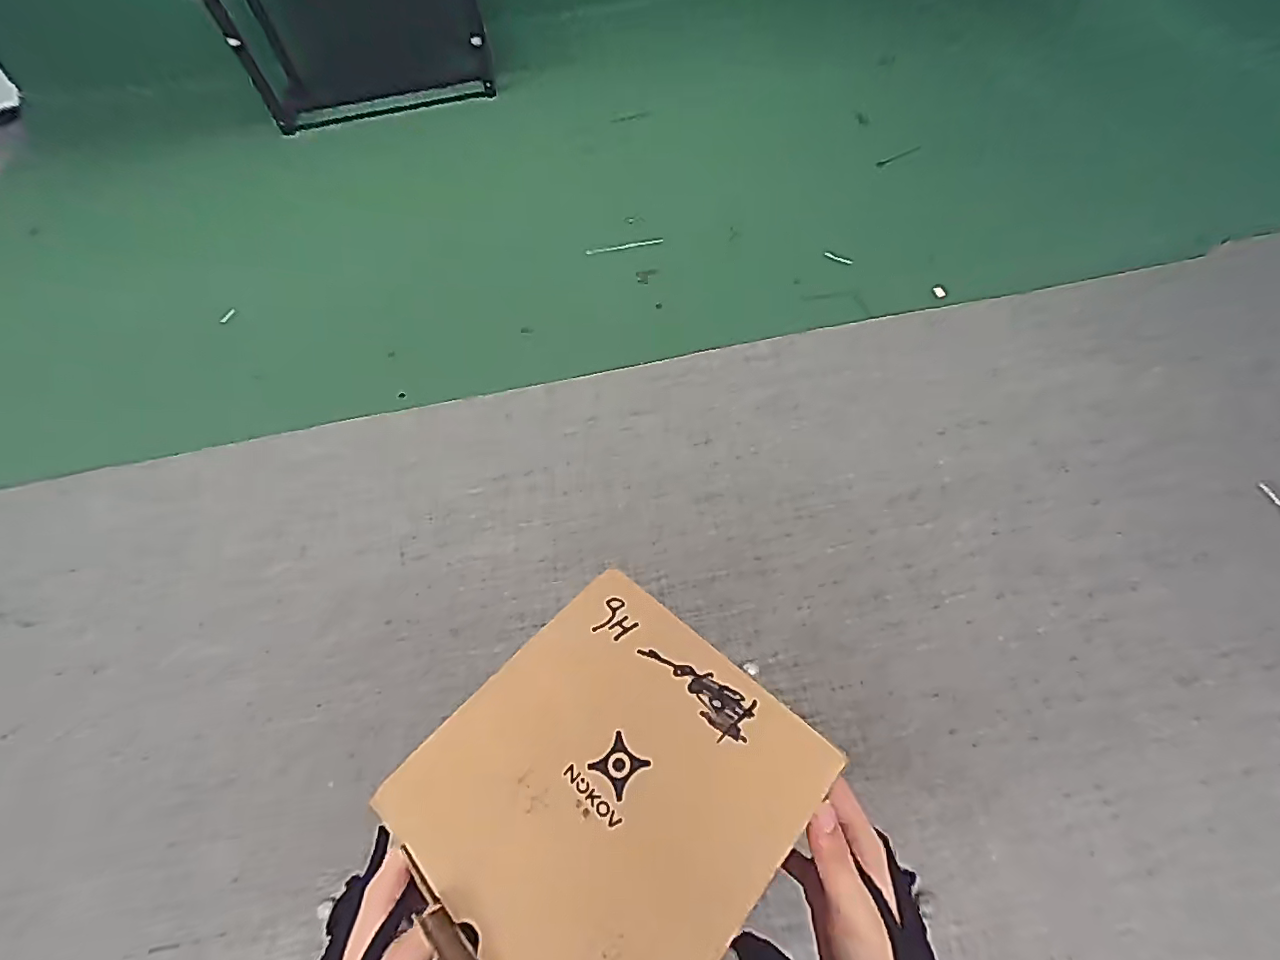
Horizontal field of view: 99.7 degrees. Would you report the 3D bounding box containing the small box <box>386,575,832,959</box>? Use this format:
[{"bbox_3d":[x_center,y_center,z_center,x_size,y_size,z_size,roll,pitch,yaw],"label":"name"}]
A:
[{"bbox_3d":[-0.009,0.201,0.337,0.168,0.176,0.179,35,63,28],"label":"small box"}]
